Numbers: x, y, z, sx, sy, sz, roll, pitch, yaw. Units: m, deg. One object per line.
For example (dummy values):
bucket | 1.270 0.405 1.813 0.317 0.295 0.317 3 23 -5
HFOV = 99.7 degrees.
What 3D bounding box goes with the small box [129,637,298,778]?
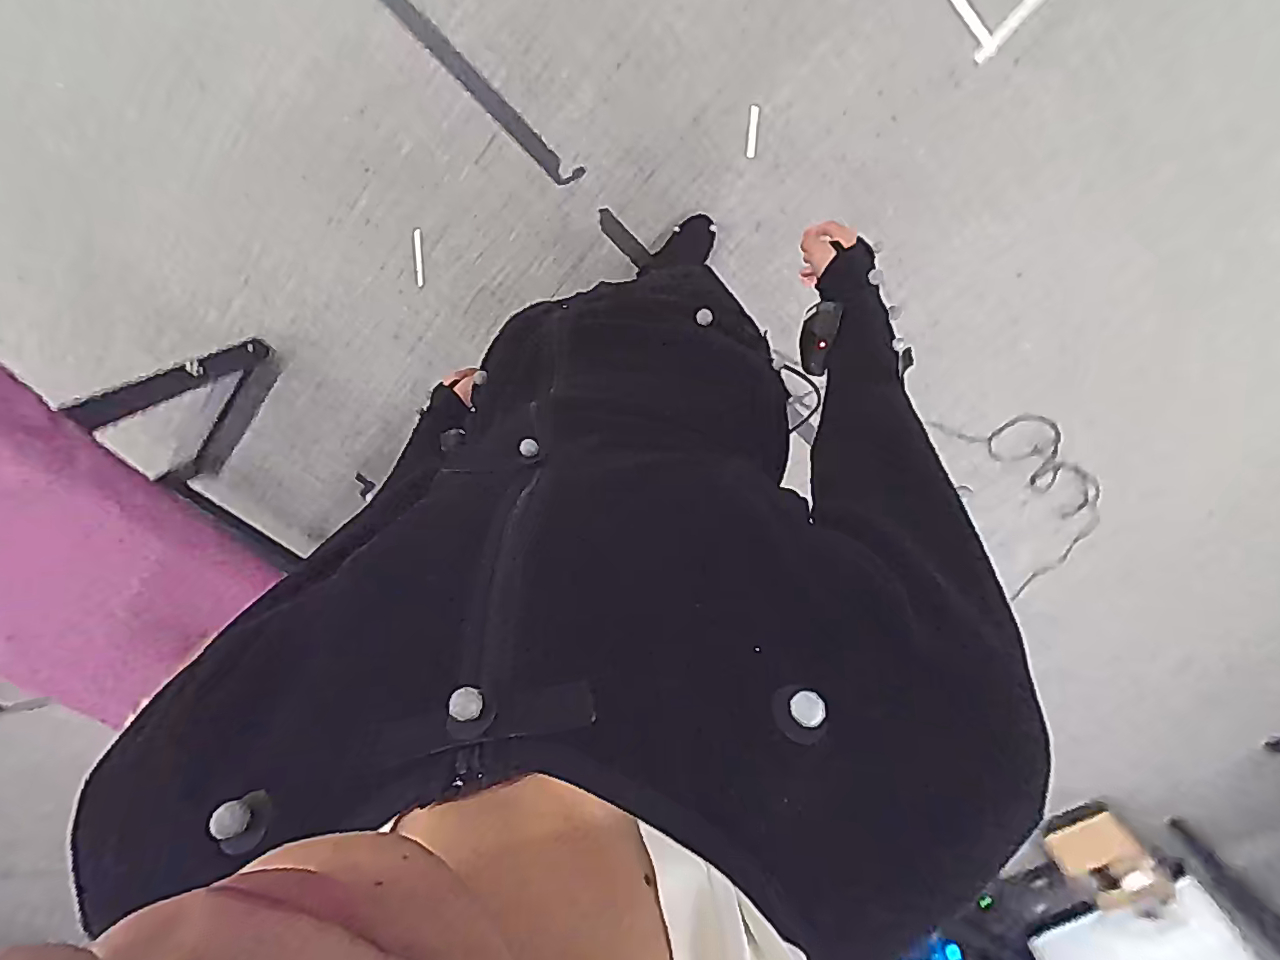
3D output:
small box | -0.834 0.440 1.071 0.179 0.176 0.168 38 114 -15
